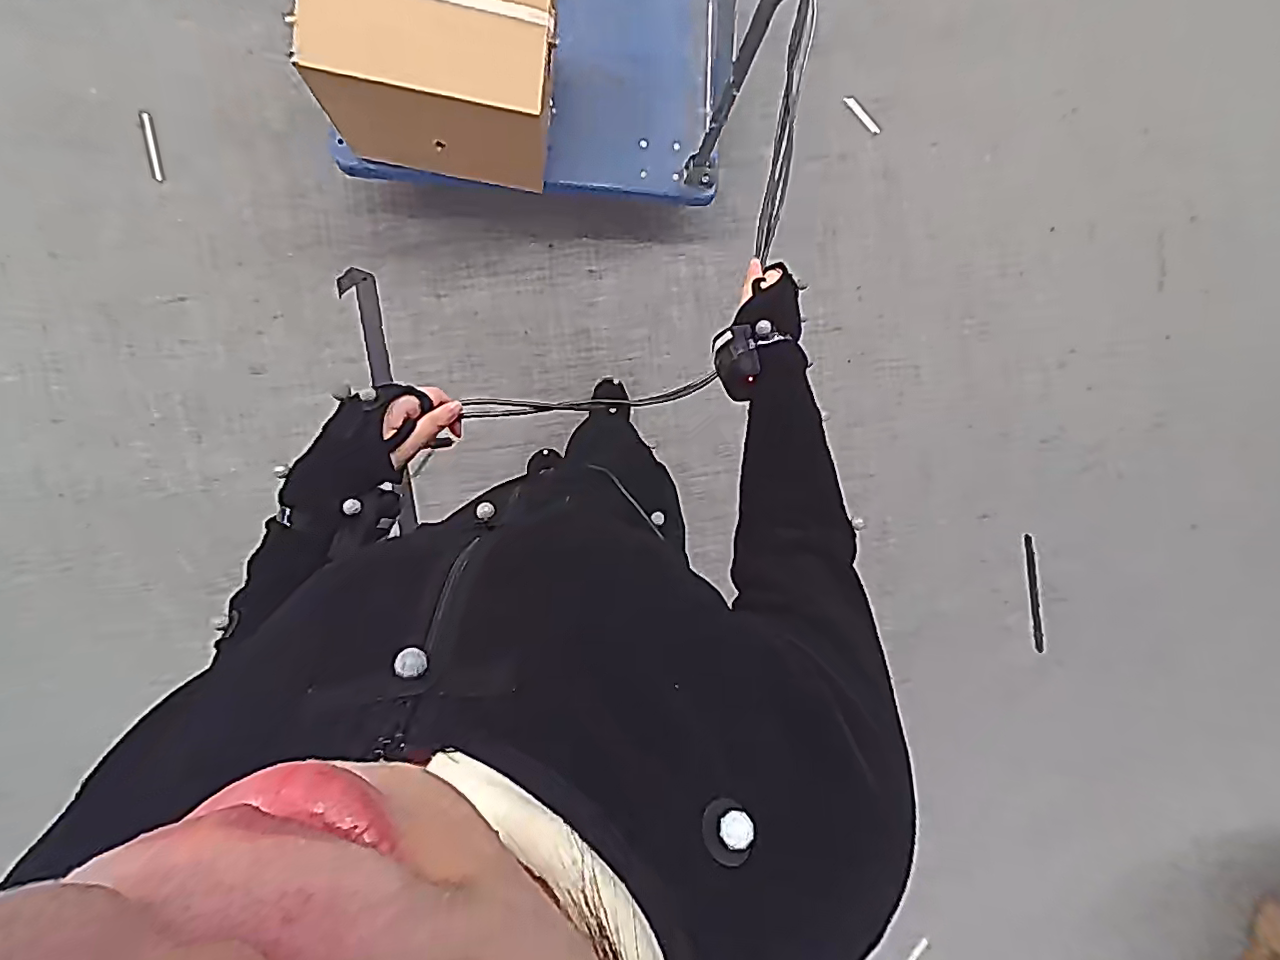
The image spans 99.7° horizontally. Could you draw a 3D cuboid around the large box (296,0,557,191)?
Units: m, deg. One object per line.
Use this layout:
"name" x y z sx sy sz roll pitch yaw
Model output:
"large box" -0.373 -0.810 1.049 0.408 0.320 0.320 6 93 -9
